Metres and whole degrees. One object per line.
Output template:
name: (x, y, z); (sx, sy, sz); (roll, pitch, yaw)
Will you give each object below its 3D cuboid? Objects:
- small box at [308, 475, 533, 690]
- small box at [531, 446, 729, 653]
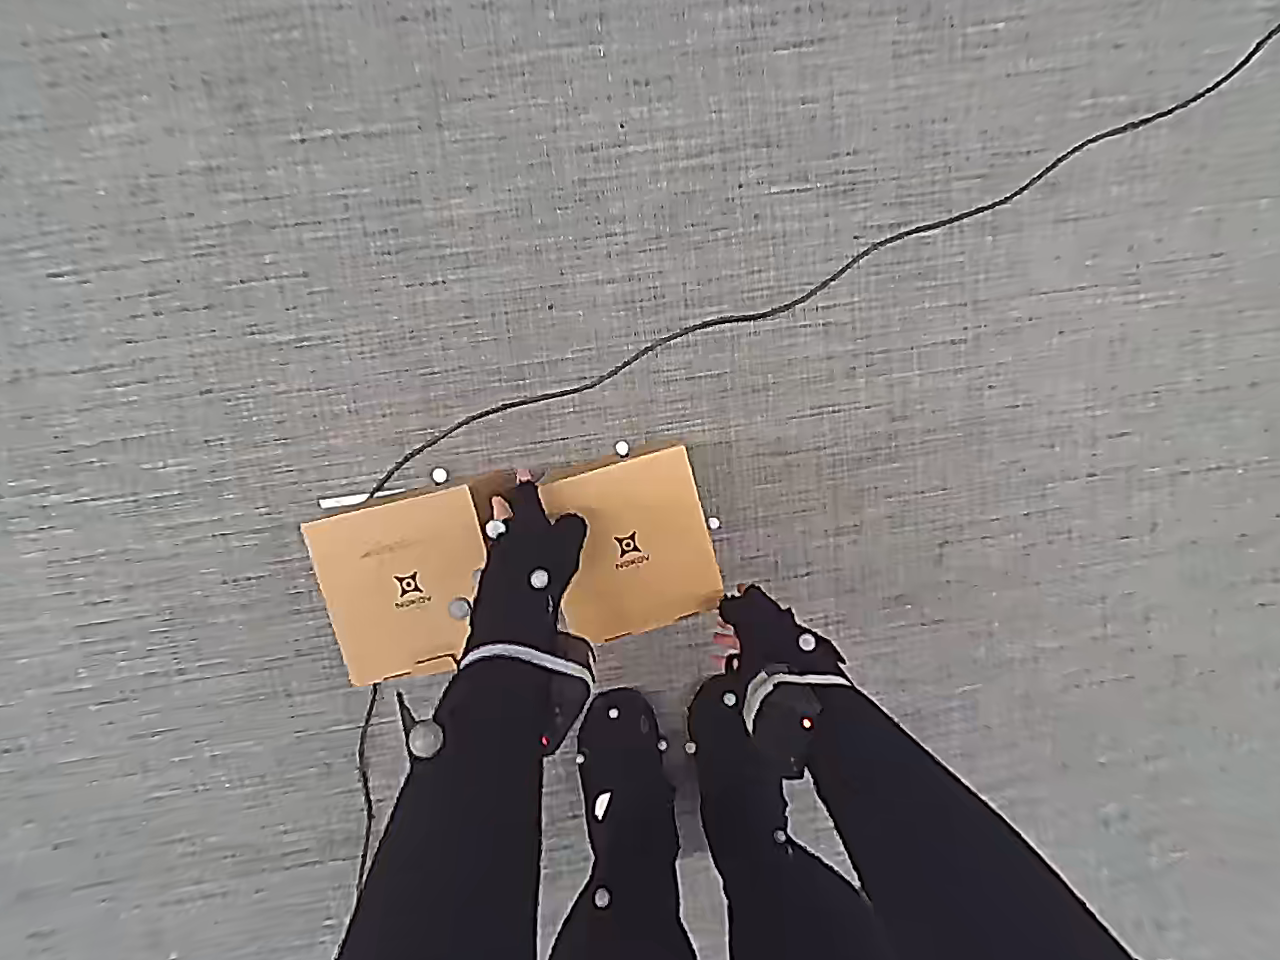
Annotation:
small box: (-0.227, 0.102, 0.612); (0.168, 0.176, 0.179); (-13, 97, -2)
small box: (-0.014, 0.063, 0.621); (0.168, 0.176, 0.179); (-17, 99, -1)
